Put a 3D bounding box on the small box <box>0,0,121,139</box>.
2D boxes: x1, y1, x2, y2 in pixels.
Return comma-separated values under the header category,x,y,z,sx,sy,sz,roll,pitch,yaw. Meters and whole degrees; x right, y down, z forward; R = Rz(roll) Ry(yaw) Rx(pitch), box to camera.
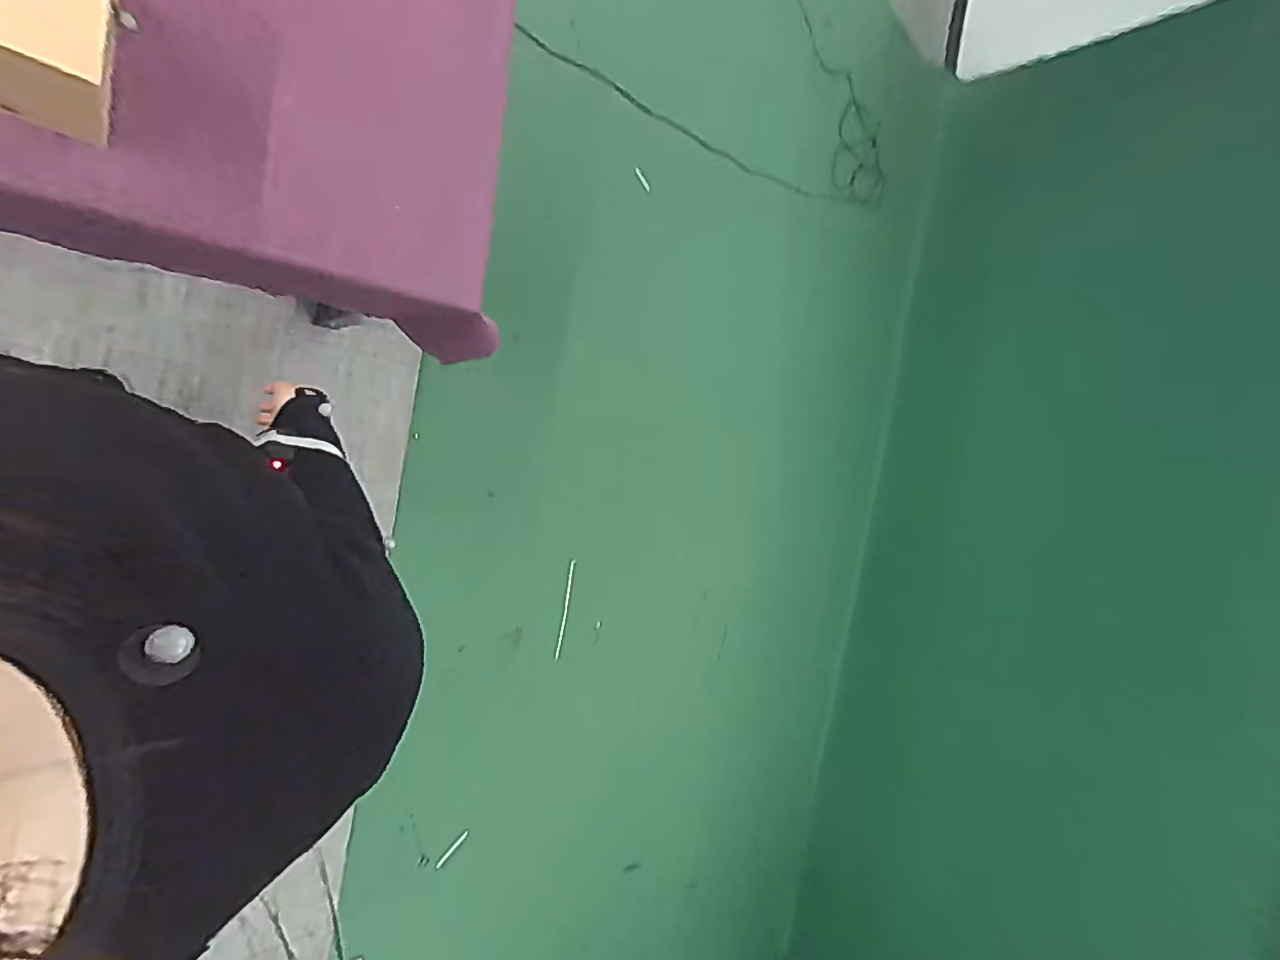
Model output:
category,x,y,z,sx,sy,sz,roll,pitch,yaw
small box,-0.528,-0.411,0.425,0.168,0.176,0.179,6,94,-44
